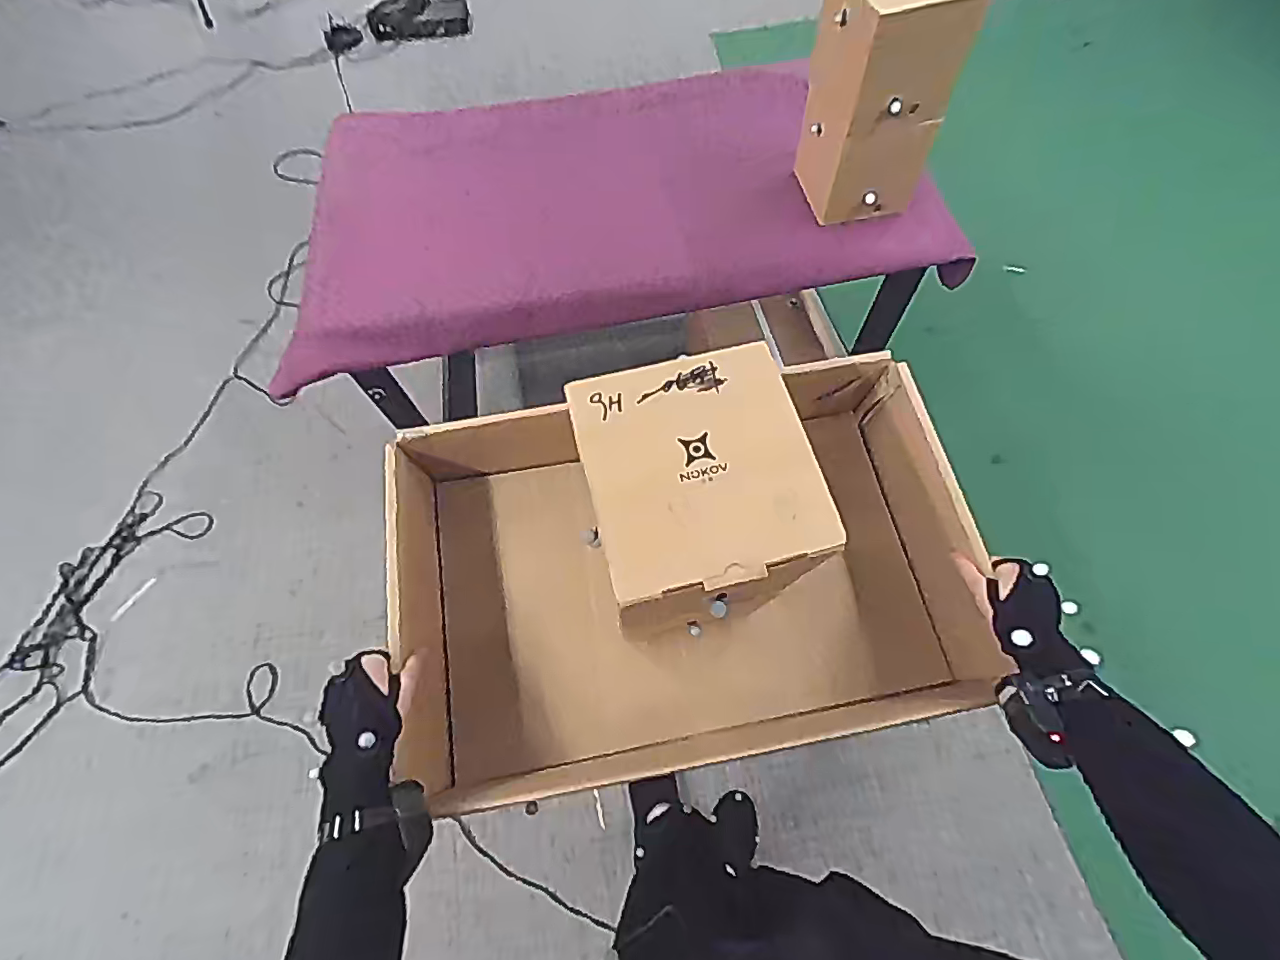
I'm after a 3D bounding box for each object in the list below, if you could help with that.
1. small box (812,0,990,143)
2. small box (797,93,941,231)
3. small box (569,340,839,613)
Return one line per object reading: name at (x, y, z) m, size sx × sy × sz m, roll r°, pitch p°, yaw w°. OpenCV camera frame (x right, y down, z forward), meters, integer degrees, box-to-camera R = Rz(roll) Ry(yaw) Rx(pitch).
small box at (0.384, -0.663, 0.838) m, size 0.168 × 0.176 × 0.179 m, roll -13°, pitch 62°, yaw -2°
small box at (0.399, -0.588, 0.982) m, size 0.168 × 0.176 × 0.179 m, roll -10°, pitch 63°, yaw -1°
small box at (0.042, 0.011, 0.472) m, size 0.168 × 0.176 × 0.179 m, roll -13°, pitch 70°, yaw -6°
